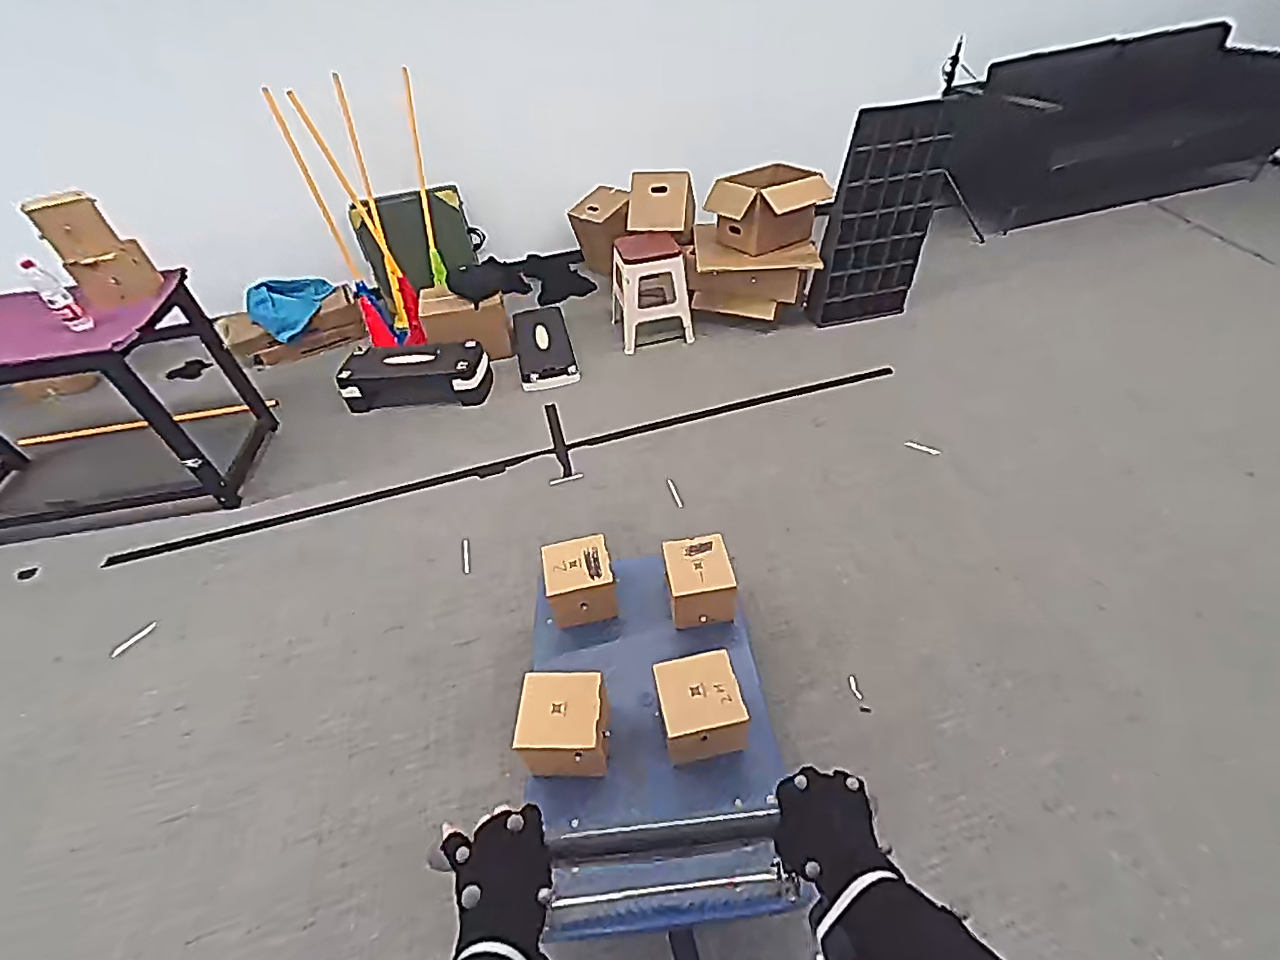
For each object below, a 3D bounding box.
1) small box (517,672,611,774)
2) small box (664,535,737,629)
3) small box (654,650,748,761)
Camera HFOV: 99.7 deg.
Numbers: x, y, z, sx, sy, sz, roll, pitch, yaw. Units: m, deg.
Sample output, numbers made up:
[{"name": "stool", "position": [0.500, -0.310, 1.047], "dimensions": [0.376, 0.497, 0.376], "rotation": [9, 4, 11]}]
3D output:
[{"name": "small box", "position": [-0.164, 0.555, 1.229], "dimensions": [0.179, 0.176, 0.168], "rotation": [-2, 44, 2]}, {"name": "small box", "position": [0.159, 0.279, 1.476], "dimensions": [0.168, 0.176, 0.179], "rotation": [-9, 46, -3]}, {"name": "small box", "position": [0.137, 0.518, 1.235], "dimensions": [0.179, 0.176, 0.168], "rotation": [-10, 45, -5]}]
